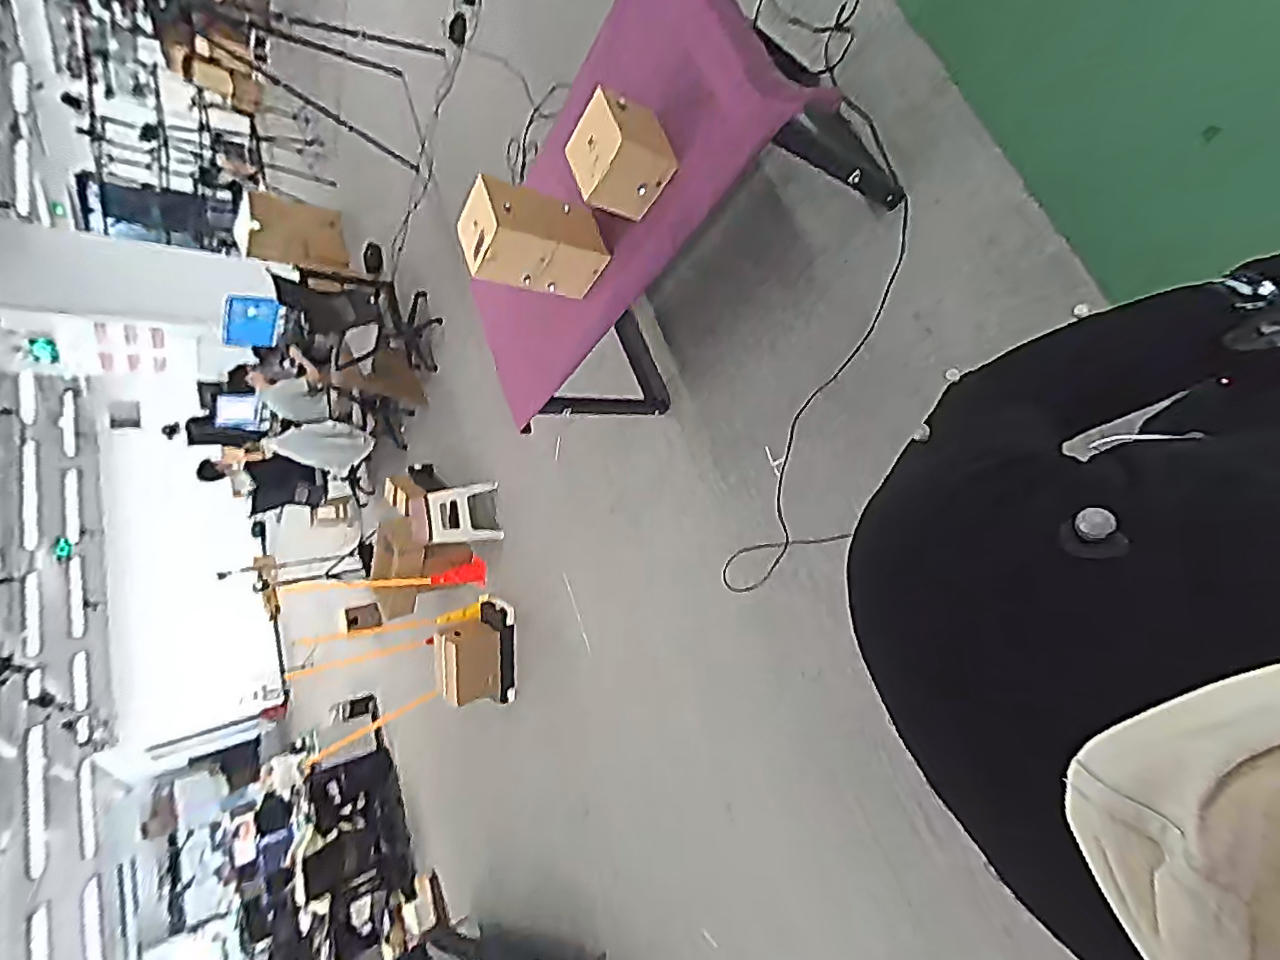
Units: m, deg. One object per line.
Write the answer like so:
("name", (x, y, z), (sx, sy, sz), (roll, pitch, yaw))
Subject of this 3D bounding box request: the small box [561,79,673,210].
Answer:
("small box", (-0.053, -0.769, 1.261), (0.168, 0.176, 0.179), (-38, 66, 44))

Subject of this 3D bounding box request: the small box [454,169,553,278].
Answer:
("small box", (-0.340, -0.628, 1.352), (0.168, 0.176, 0.179), (-38, 65, 43))
